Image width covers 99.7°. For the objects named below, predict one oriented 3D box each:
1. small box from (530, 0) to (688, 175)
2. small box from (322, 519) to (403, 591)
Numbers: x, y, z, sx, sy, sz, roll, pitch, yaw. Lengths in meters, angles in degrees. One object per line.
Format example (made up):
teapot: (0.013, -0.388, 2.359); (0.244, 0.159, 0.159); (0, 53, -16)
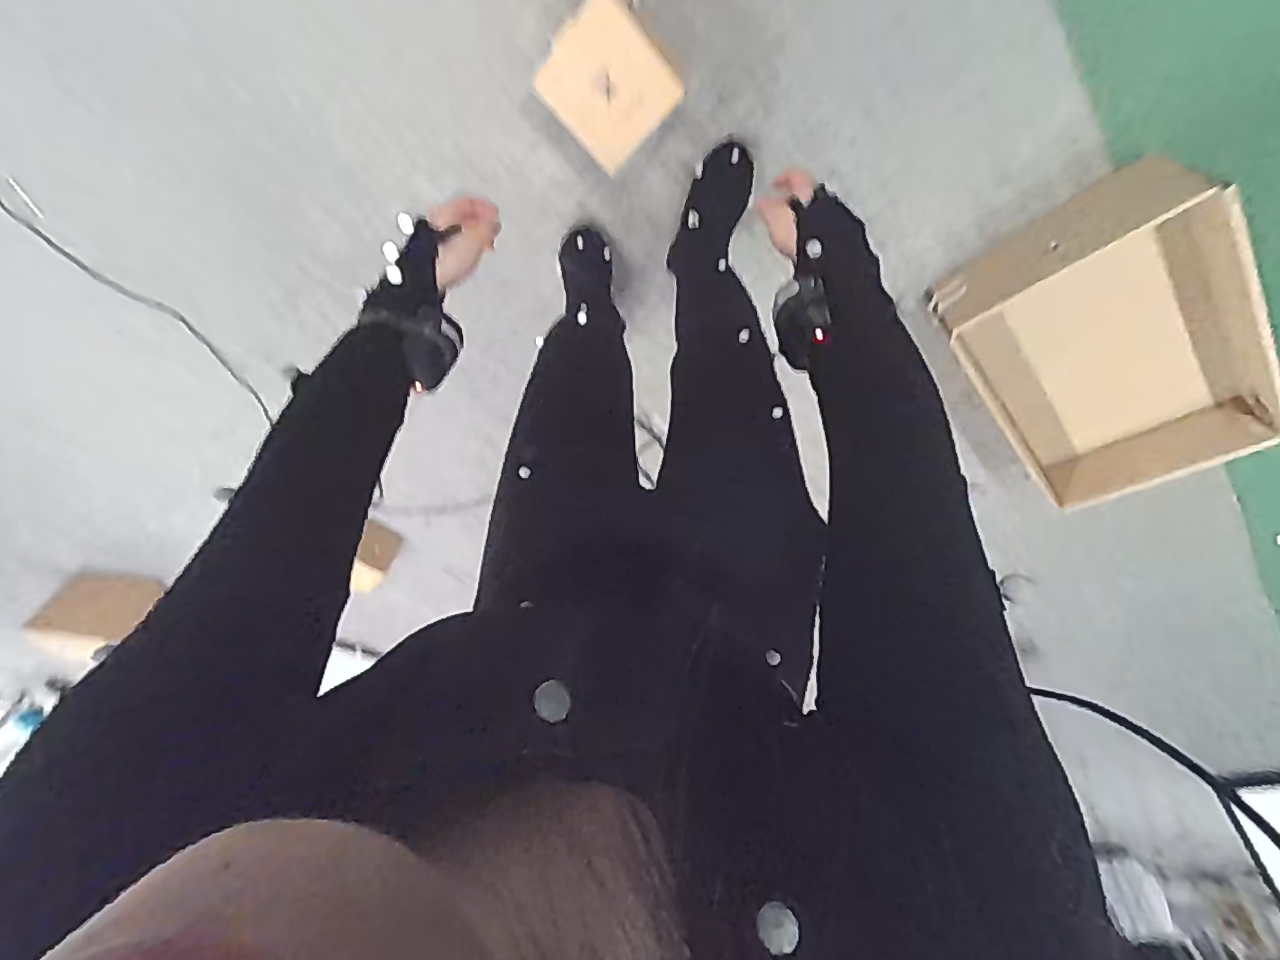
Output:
small box: (-0.041, -0.633, 0.853); (0.179, 0.176, 0.168); (37, 131, -27)
small box: (-0.980, 0.265, 1.922); (0.179, 0.176, 0.168); (36, 129, -26)
